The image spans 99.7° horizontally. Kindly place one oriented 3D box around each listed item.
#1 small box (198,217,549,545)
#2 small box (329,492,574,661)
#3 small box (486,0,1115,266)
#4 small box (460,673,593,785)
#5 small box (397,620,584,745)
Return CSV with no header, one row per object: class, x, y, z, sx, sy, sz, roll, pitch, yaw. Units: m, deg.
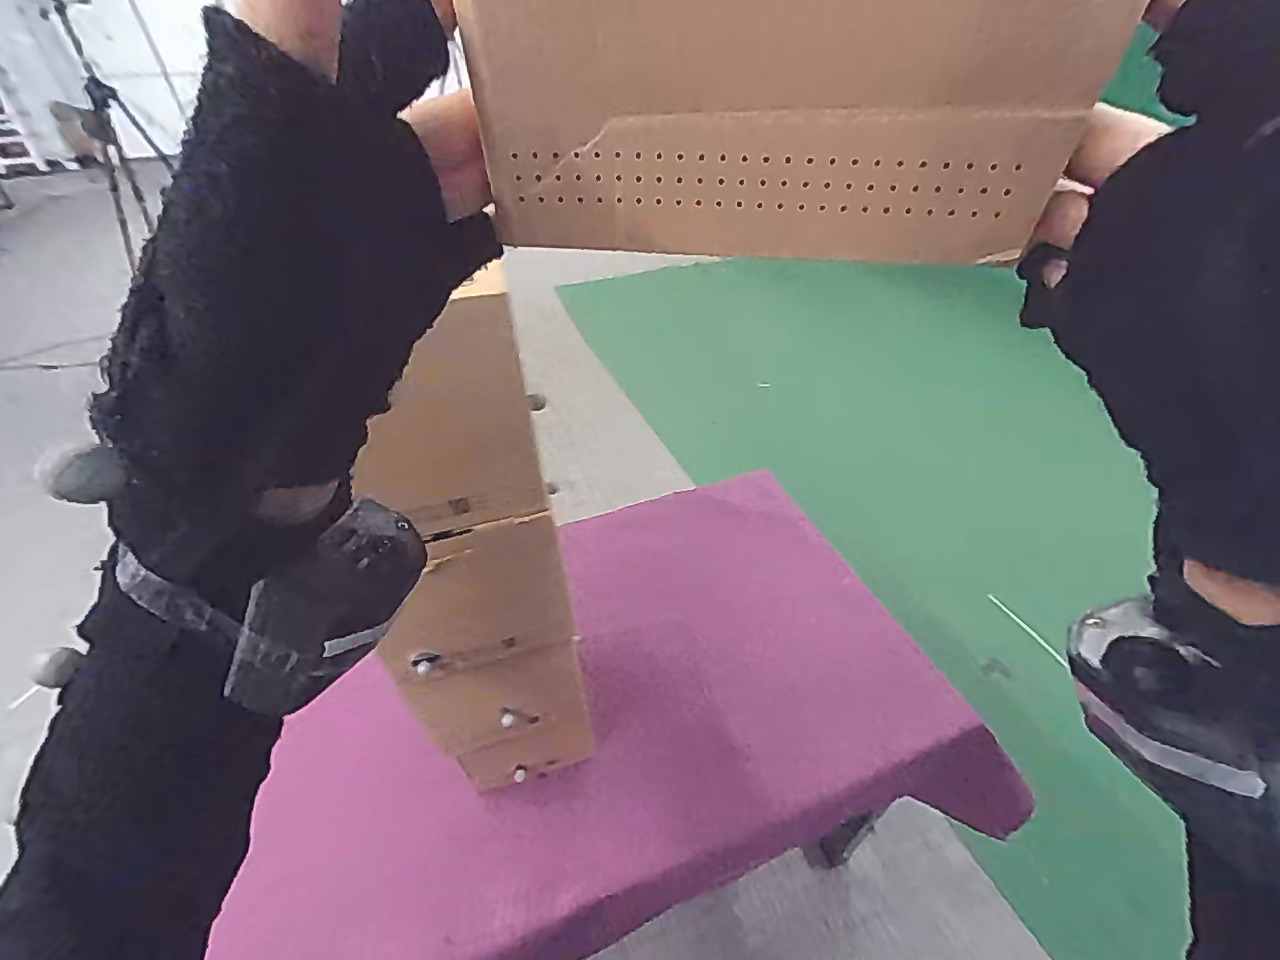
small box,-0.171,-0.080,0.405,0.168,0.176,0.179,-13,41,-11
small box,-0.165,0.046,0.509,0.168,0.176,0.179,-13,41,-13
small box,0.048,-0.190,0.186,0.179,0.176,0.168,5,48,5
small box,-0.165,0.278,0.742,0.168,0.176,0.179,-13,43,-12
small box,-0.168,0.165,0.622,0.168,0.176,0.179,-14,43,-13
